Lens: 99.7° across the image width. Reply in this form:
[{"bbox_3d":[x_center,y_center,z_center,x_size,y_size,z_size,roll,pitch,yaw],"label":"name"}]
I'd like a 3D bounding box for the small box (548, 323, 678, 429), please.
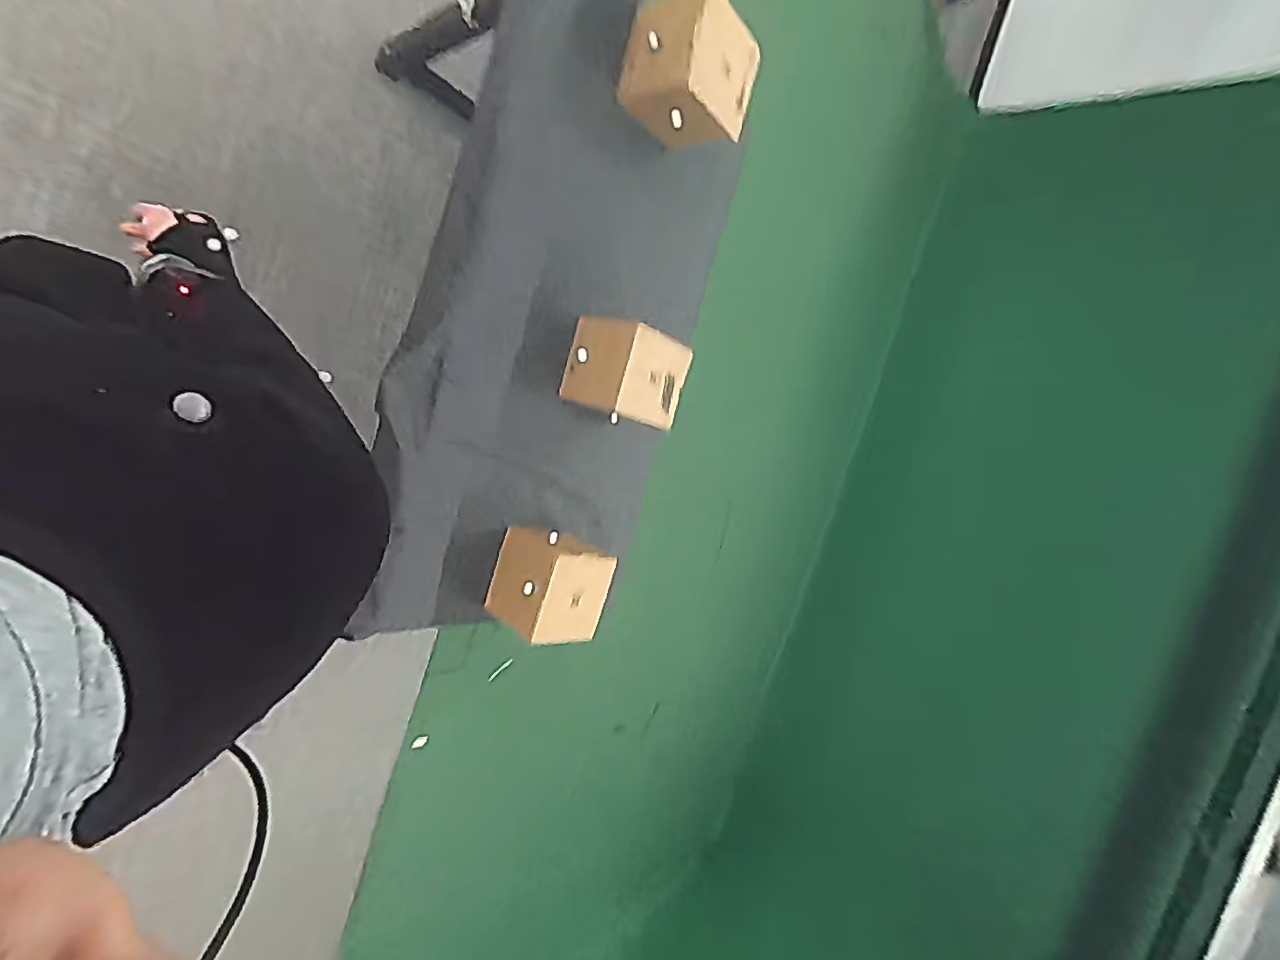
[{"bbox_3d":[-0.057,-0.216,1.112,0.179,0.176,0.168,11,97,-50],"label":"small box"}]

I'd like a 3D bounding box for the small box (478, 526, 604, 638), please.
[{"bbox_3d":[-0.208,0.205,1.115,0.168,0.176,0.179,14,95,-50],"label":"small box"}]
